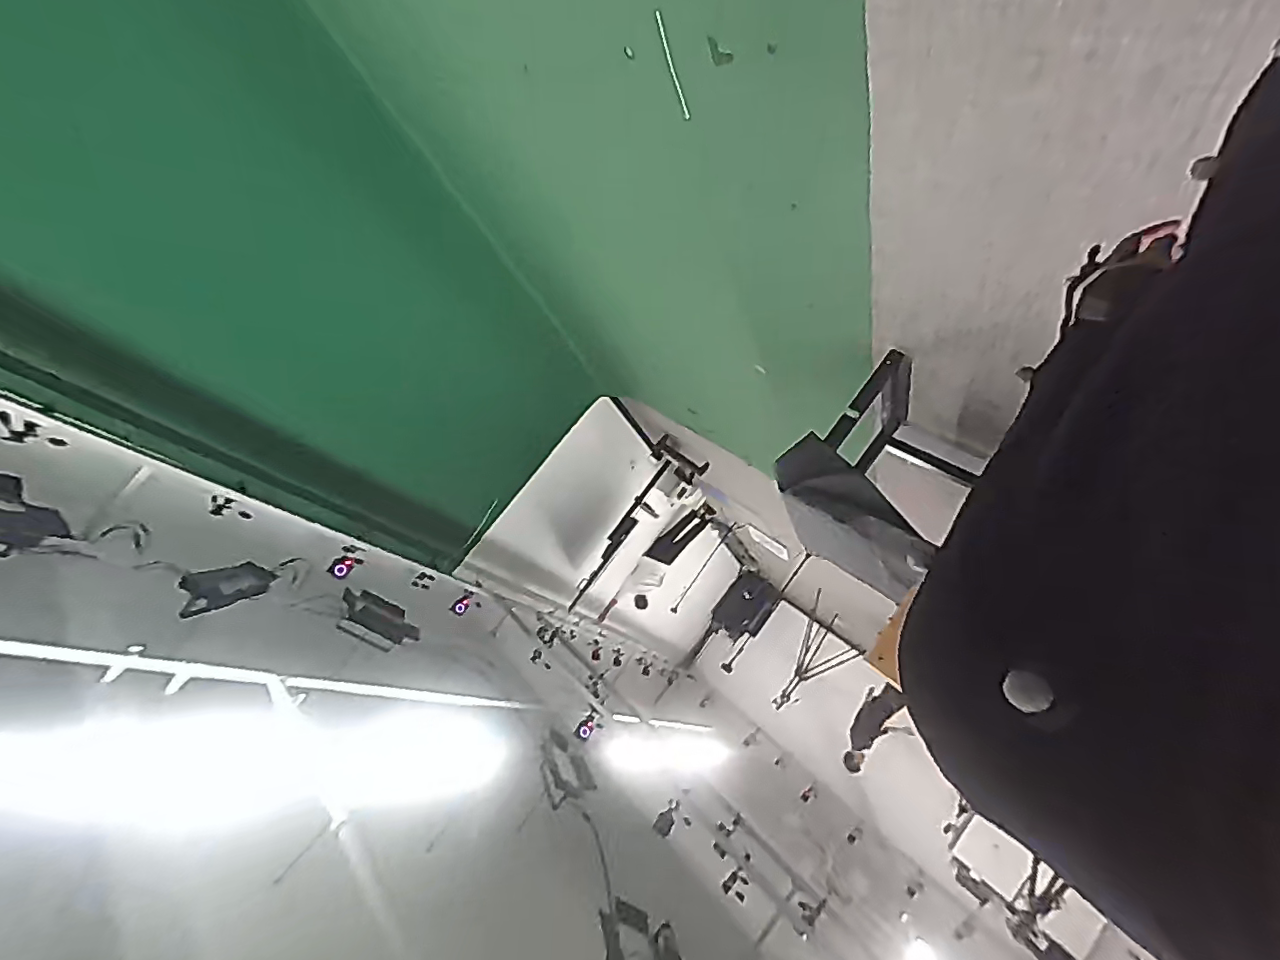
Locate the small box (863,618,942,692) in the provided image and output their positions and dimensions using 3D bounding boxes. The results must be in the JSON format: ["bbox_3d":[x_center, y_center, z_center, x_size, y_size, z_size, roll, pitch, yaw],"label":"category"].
[{"bbox_3d":[0.893,0.593,1.845,0.179,0.176,0.168,36,175,25],"label":"small box"}]

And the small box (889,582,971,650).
[{"bbox_3d":[0.991,0.464,1.857,0.179,0.176,0.168,34,174,25],"label":"small box"}]
